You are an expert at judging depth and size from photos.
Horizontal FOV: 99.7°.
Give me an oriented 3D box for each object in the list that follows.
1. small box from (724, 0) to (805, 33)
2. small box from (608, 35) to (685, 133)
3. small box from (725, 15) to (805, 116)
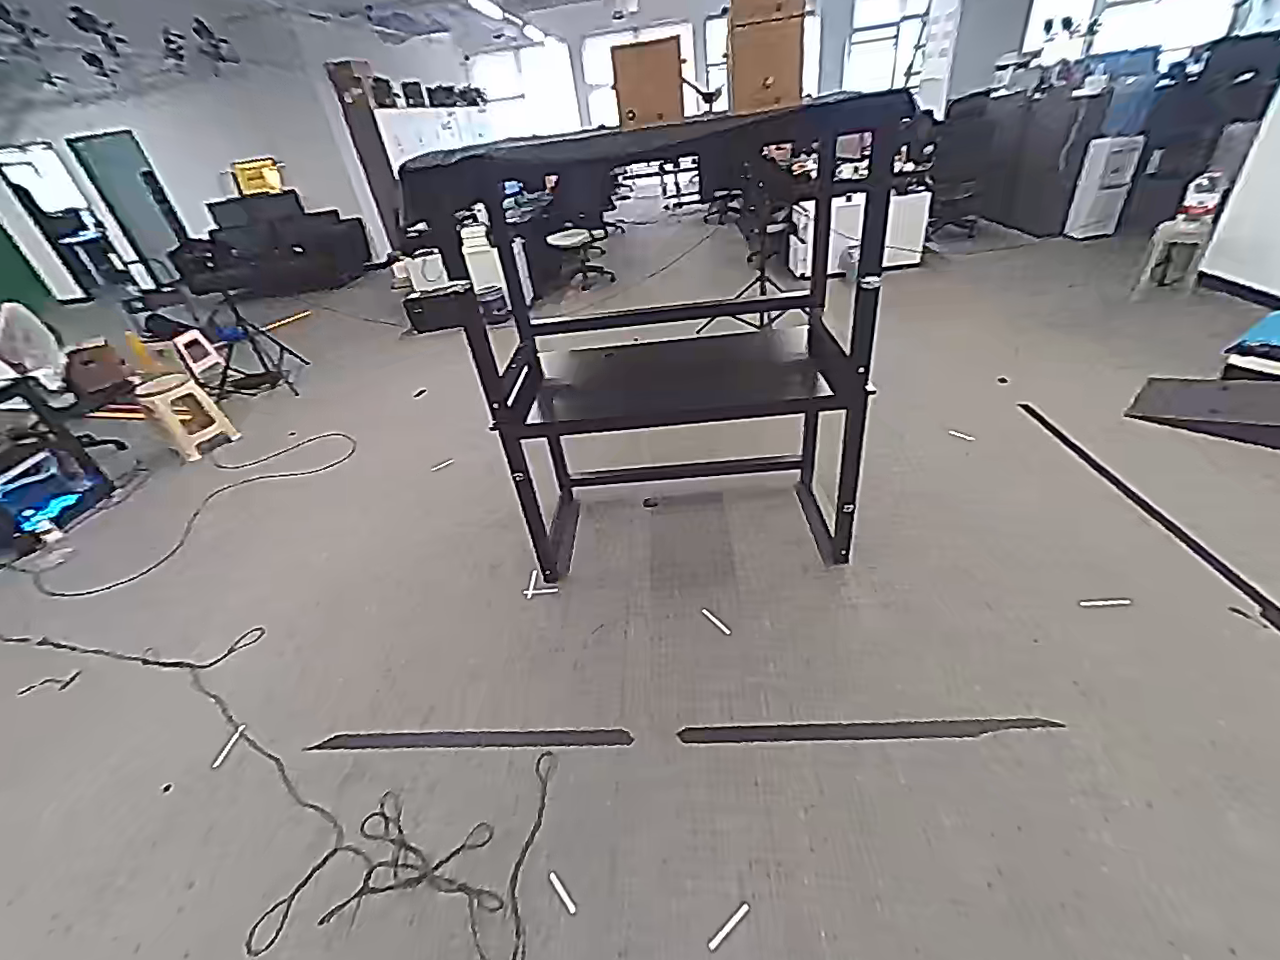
[{"bbox_3d":[0.276,-1.124,1.213,0.168,0.176,0.179,-4,34,7],"label":"small box"},{"bbox_3d":[0.022,-0.965,1.330,0.168,0.176,0.179,-5,32,5],"label":"small box"},{"bbox_3d":[0.295,-0.988,1.304,0.168,0.176,0.179,-5,34,7],"label":"small box"}]
